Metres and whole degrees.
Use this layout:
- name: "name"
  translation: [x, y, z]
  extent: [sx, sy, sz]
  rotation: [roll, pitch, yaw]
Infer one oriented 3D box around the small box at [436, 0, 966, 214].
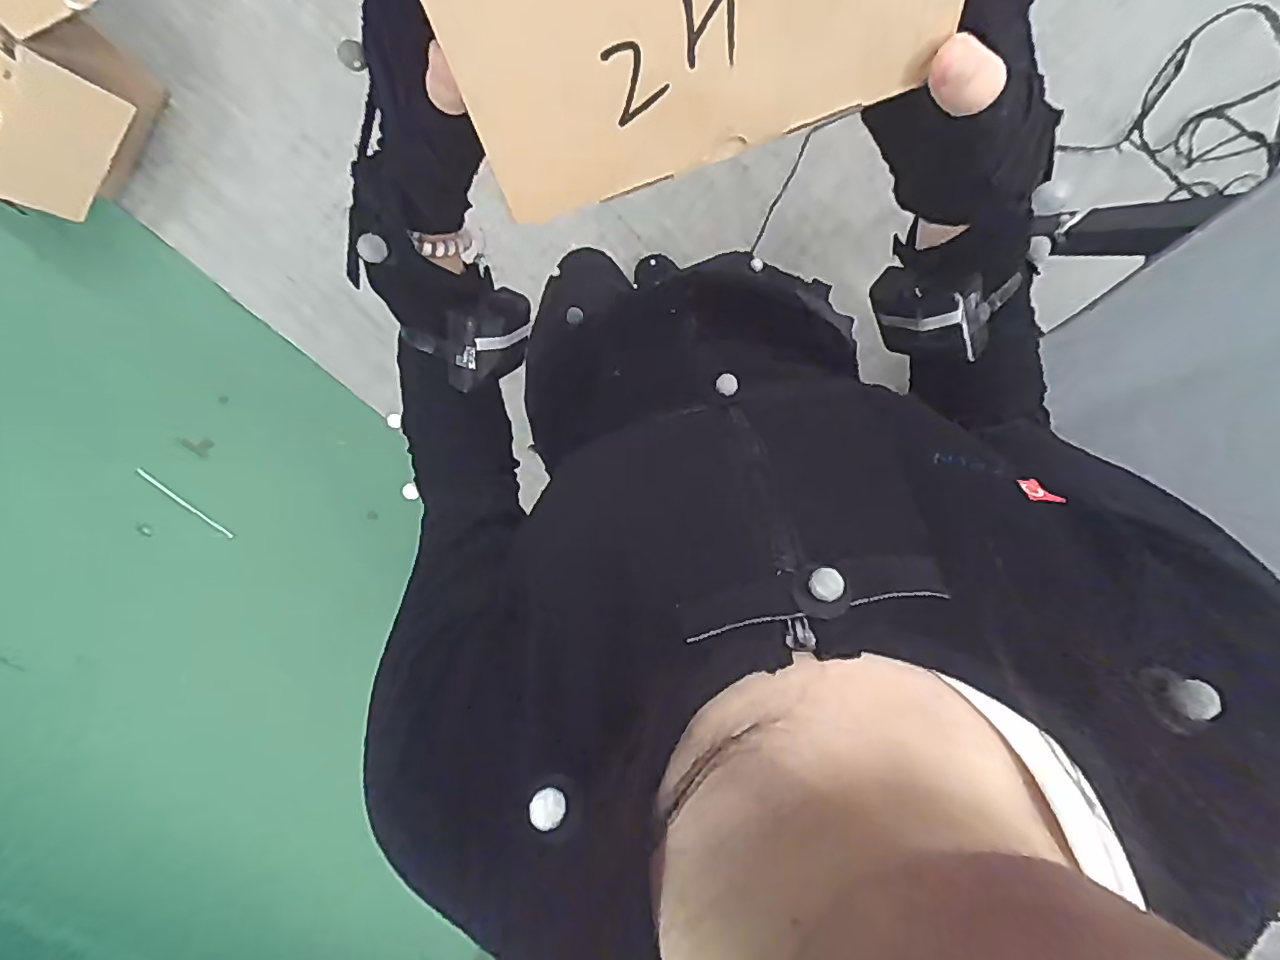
- name: "small box"
  translation: [-0.005, -0.229, 0.165]
  extent: [0.168, 0.176, 0.179]
  rotation: [-19, 149, 1]
